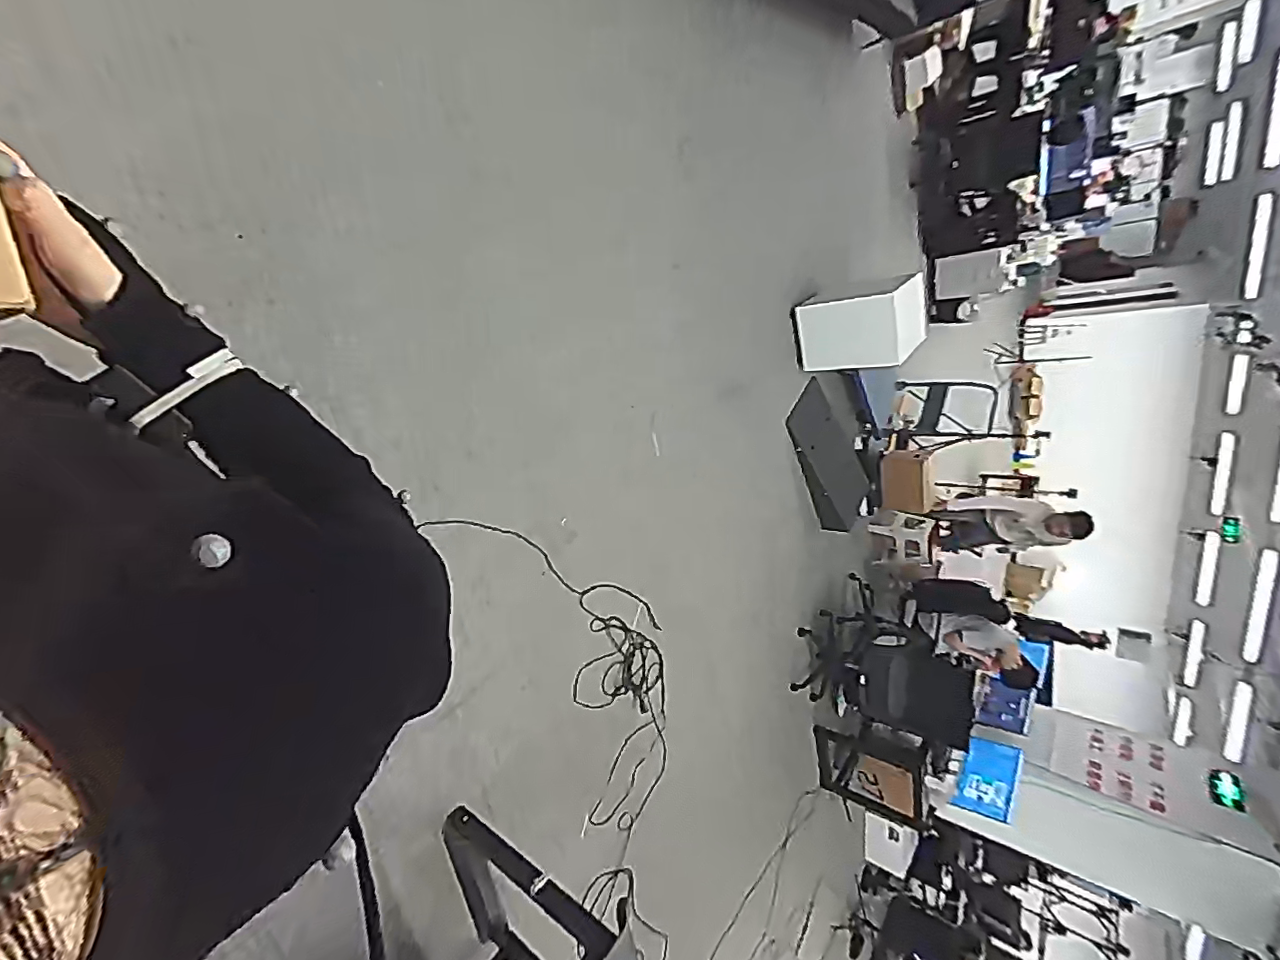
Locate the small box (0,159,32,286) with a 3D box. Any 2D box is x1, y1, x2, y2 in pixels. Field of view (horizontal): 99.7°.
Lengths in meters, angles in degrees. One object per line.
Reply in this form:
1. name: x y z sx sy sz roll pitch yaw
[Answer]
1. small box: -0.437 -0.181 0.241 0.168 0.176 0.179 -24 116 -56
